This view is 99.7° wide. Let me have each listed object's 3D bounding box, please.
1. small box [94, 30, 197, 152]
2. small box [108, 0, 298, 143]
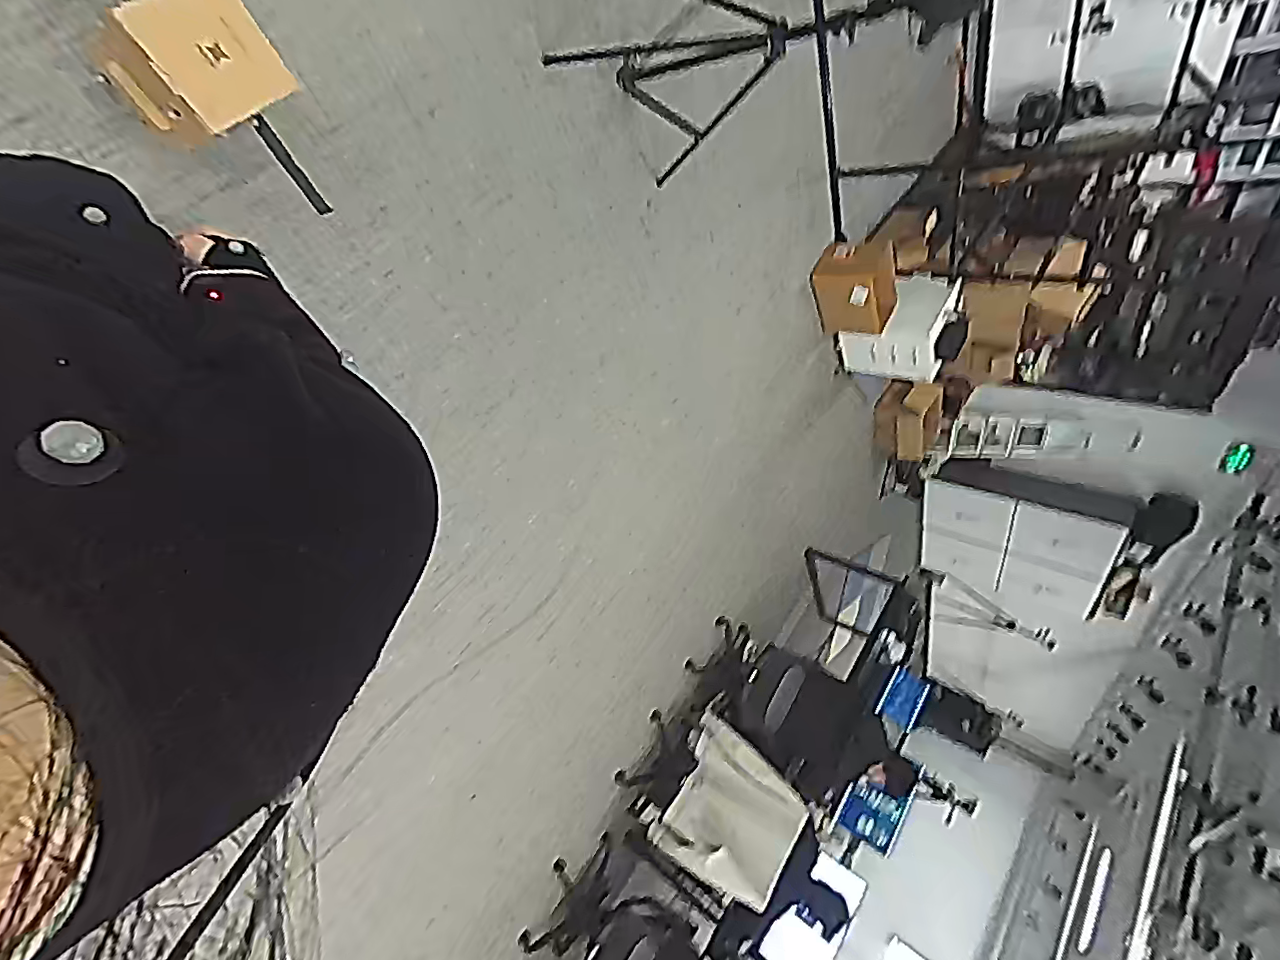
[{"bbox_3d":[-0.844,-0.733,0.995,0.179,0.176,0.168,-51,138,-23],"label":"small box"},{"bbox_3d":[-0.723,-0.688,0.895,0.179,0.176,0.168,-52,139,-22],"label":"small box"}]
